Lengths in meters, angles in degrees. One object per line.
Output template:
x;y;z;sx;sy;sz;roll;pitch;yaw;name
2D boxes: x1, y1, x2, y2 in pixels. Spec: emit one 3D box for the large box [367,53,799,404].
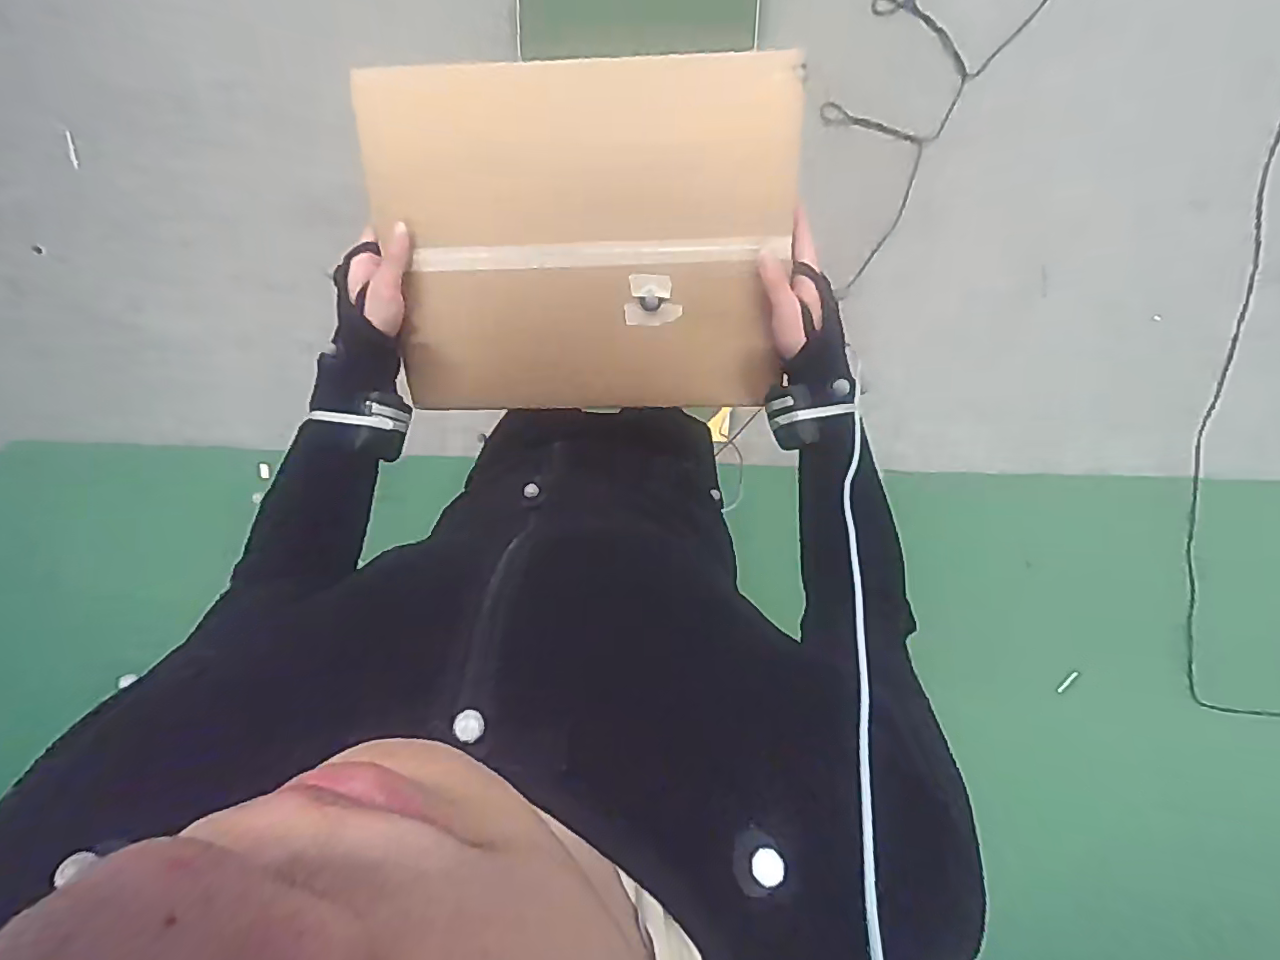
-0.048;-0.286;0.681;0.408;0.320;0.320;-1;112;2;large box
